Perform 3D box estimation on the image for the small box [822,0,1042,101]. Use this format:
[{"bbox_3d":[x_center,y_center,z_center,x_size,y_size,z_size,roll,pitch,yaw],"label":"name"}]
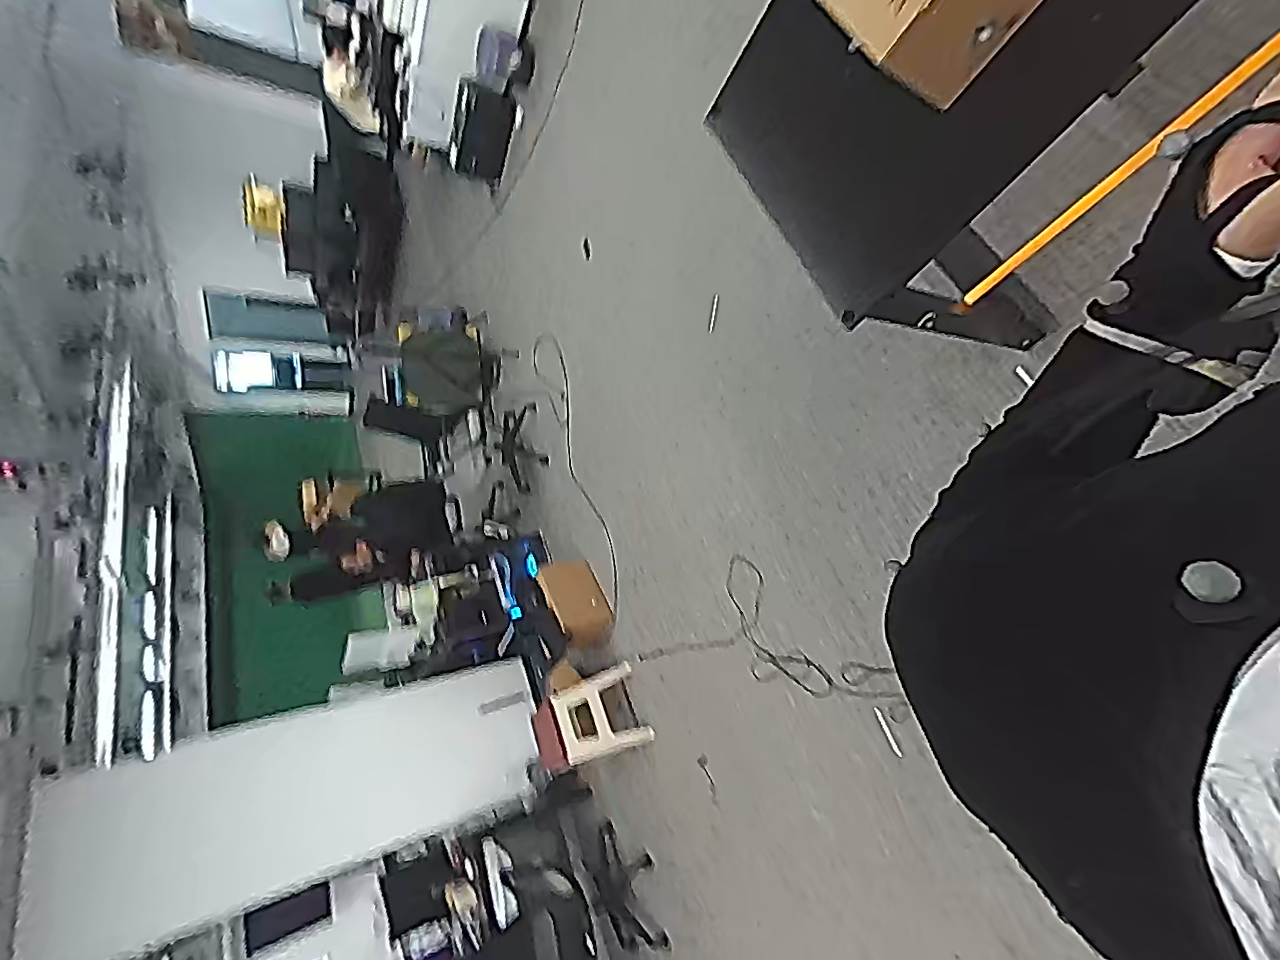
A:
[{"bbox_3d":[0.370,-0.629,0.687,0.168,0.176,0.179,-48,55,47],"label":"small box"}]
